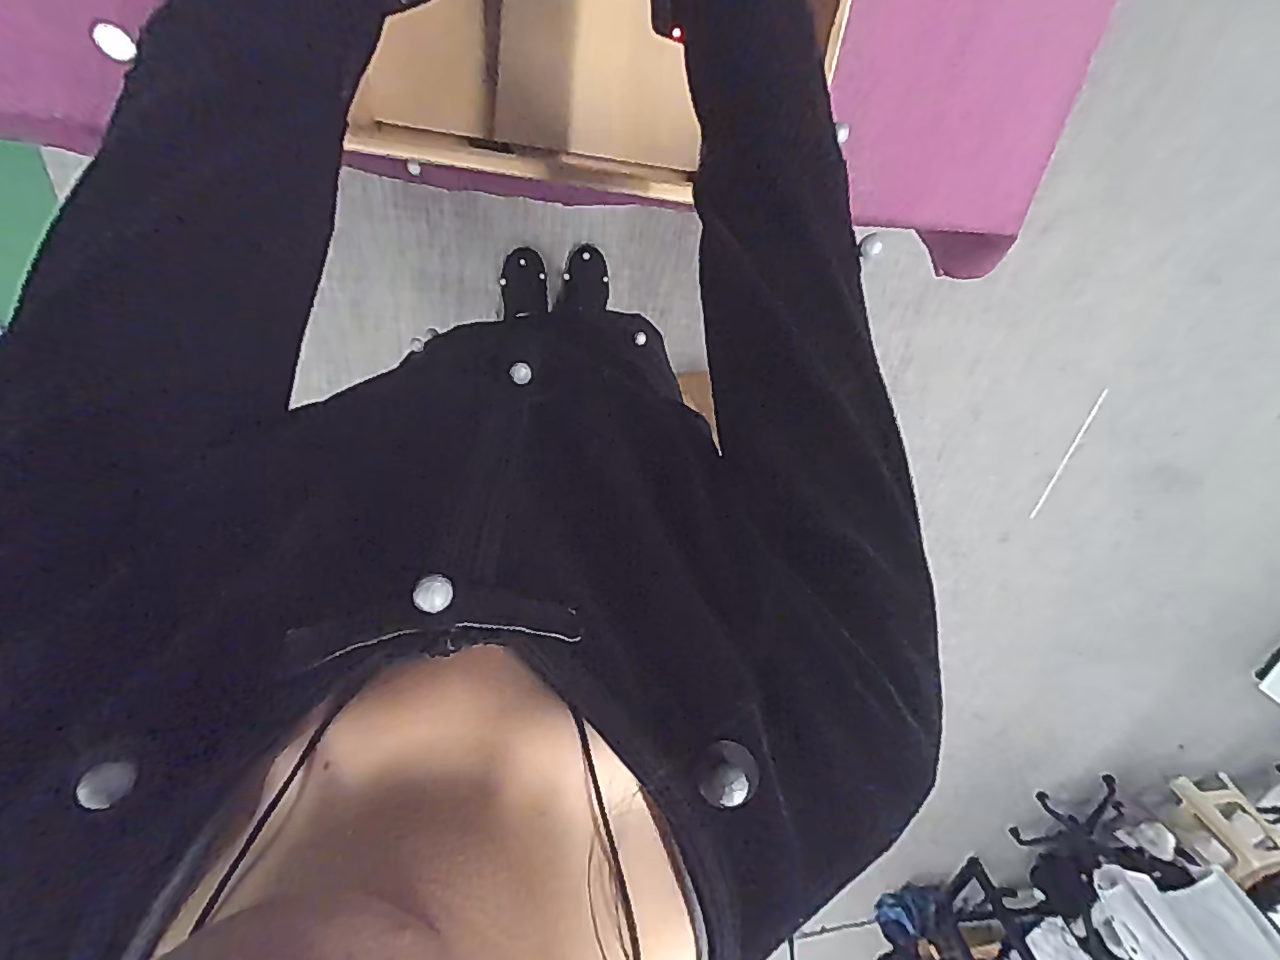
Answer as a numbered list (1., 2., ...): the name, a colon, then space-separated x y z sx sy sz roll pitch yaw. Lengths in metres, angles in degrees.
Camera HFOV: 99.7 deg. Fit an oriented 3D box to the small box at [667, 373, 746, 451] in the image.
1. small box: 0.174 -0.189 1.483 0.179 0.176 0.168 -2 120 -7
